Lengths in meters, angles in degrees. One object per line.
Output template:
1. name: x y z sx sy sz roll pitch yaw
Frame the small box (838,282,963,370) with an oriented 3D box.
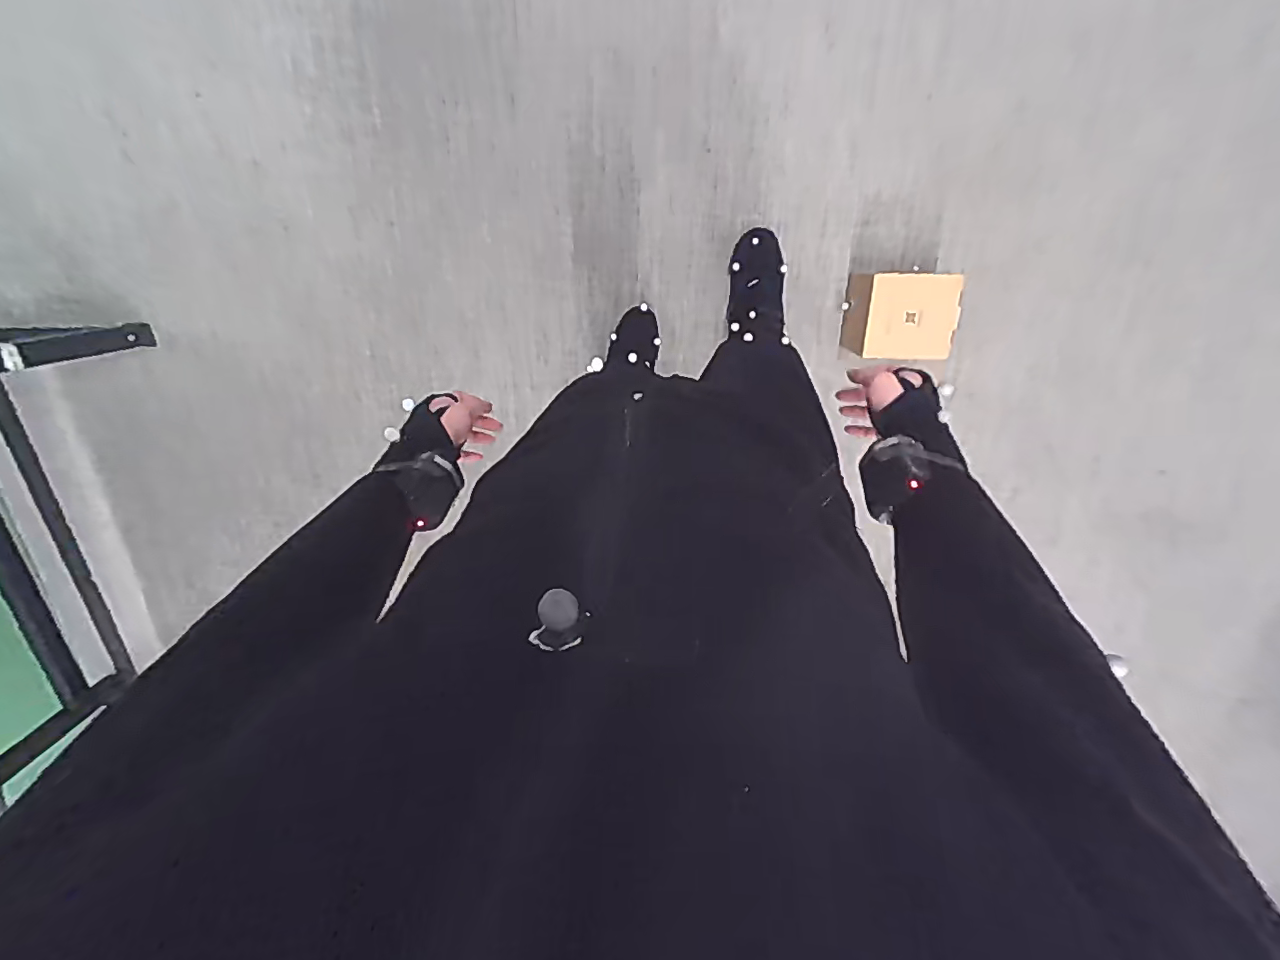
1. small box: 0.545 -0.333 1.157 0.179 0.176 0.168 2 111 4
